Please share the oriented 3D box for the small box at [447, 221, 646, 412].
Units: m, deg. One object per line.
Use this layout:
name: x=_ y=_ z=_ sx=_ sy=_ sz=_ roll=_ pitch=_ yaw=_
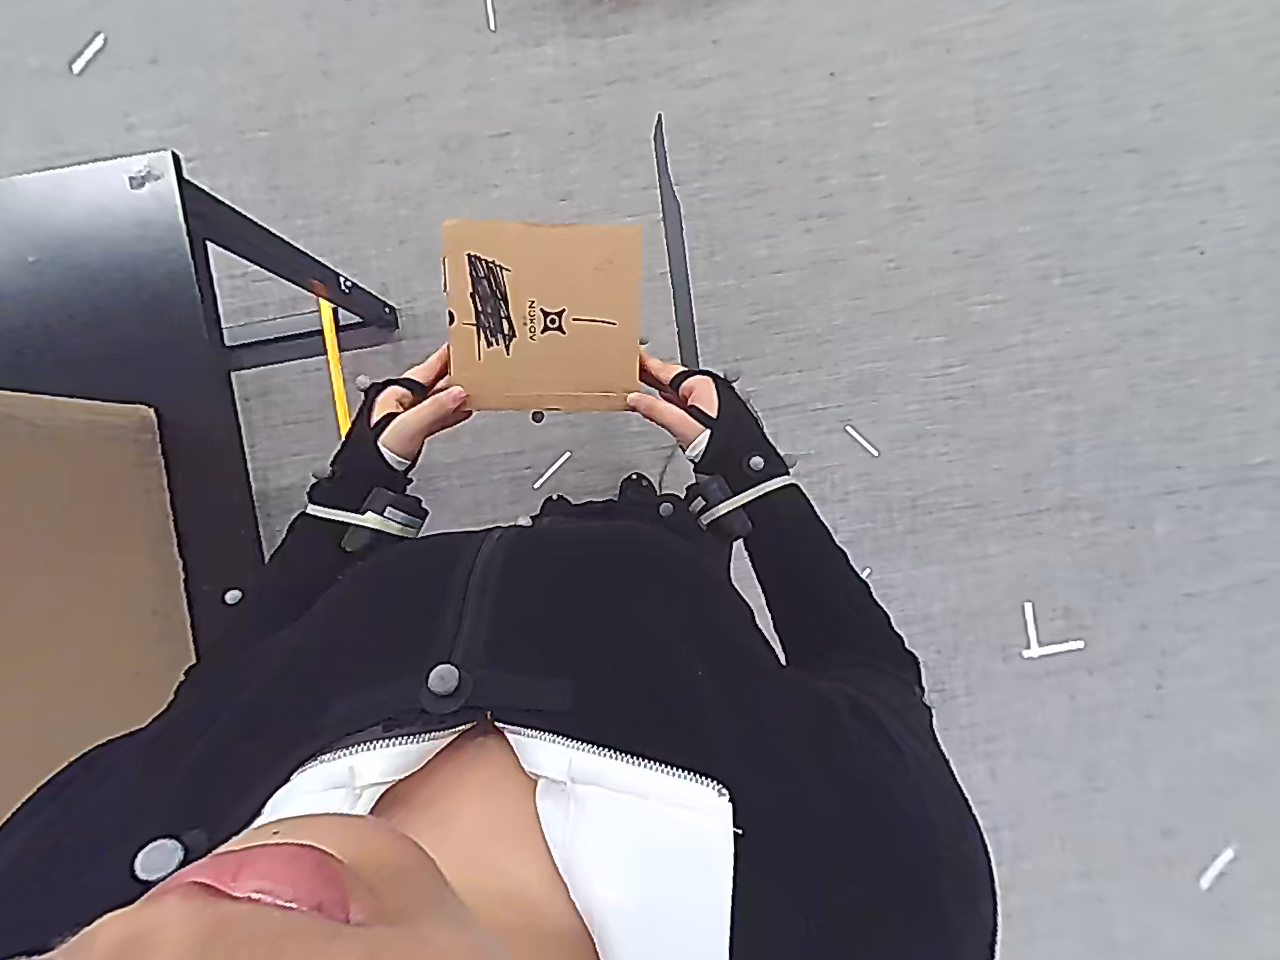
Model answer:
small box: x=-0.087 y=-0.157 z=0.563 sx=0.179 sy=0.176 sz=0.168 roll=0 pitch=100 yaw=-4
